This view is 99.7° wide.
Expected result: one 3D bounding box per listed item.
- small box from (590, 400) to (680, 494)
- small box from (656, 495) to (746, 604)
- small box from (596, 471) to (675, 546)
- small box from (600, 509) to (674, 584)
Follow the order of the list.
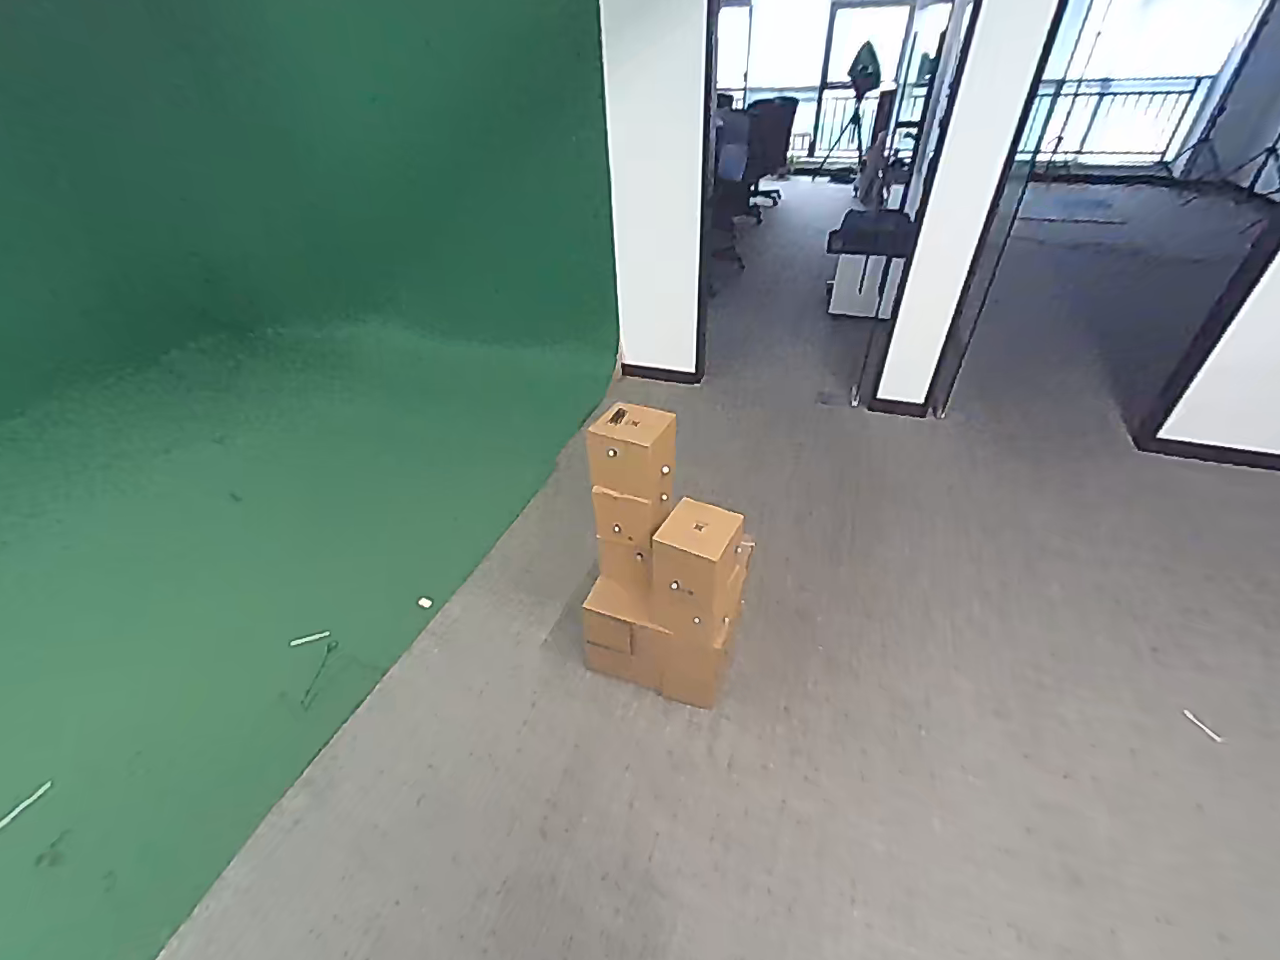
[{"bbox_3d":[-0.010,-0.085,1.407,0.179,0.176,0.168,17,41,22],"label":"small box"},{"bbox_3d":[0.148,0.170,1.335,0.168,0.176,0.179,18,42,24],"label":"small box"},{"bbox_3d":[-0.009,0.051,1.499,0.168,0.176,0.179,13,40,18],"label":"small box"},{"bbox_3d":[-0.002,0.182,1.597,0.179,0.176,0.168,11,38,17],"label":"small box"}]
